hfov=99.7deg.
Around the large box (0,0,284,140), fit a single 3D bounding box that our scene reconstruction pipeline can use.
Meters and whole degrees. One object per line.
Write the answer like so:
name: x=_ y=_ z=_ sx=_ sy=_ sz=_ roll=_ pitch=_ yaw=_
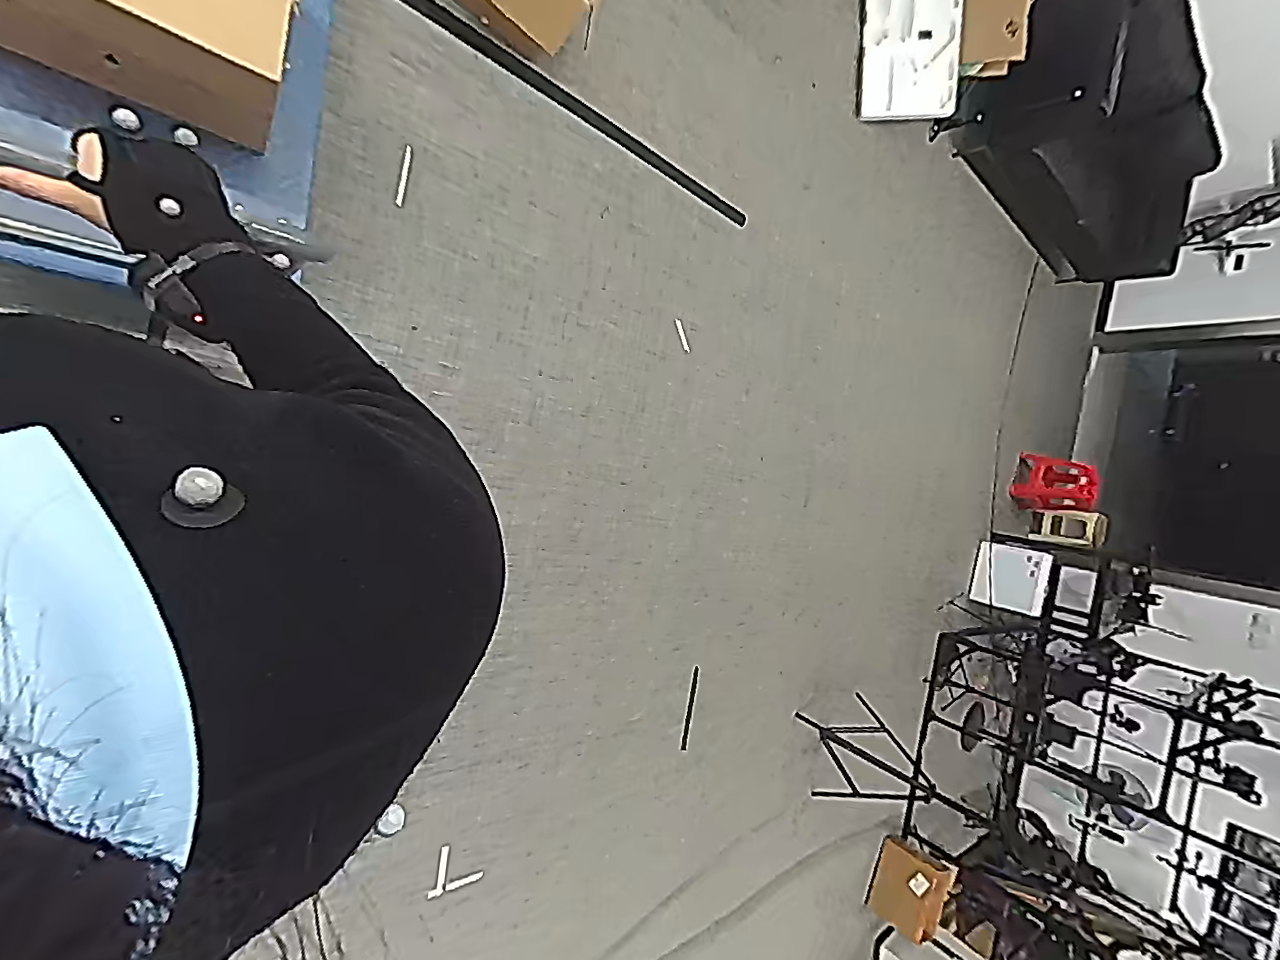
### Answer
large box: x=-0.774 y=-0.797 z=0.802 sx=0.408 sy=0.320 sz=0.320 roll=7 pitch=92 yaw=-39
